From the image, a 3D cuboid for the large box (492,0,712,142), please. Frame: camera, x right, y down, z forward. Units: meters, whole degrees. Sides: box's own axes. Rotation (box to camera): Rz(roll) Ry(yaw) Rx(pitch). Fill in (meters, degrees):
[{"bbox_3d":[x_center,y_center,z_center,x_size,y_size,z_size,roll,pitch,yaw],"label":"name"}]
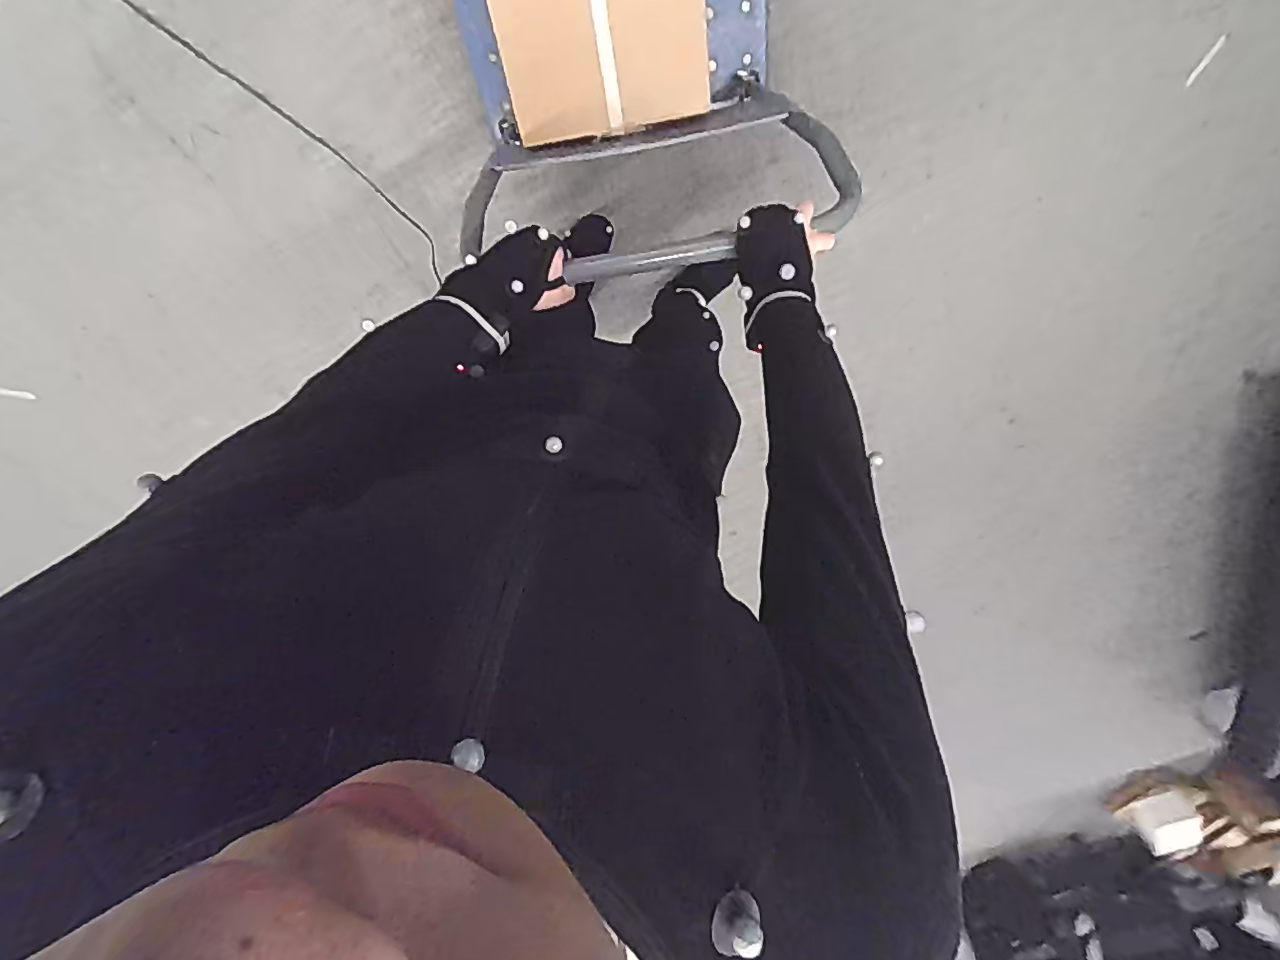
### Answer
[{"bbox_3d":[-0.072,-0.828,0.882,0.320,0.320,0.408,-9,128,3],"label":"large box"}]
